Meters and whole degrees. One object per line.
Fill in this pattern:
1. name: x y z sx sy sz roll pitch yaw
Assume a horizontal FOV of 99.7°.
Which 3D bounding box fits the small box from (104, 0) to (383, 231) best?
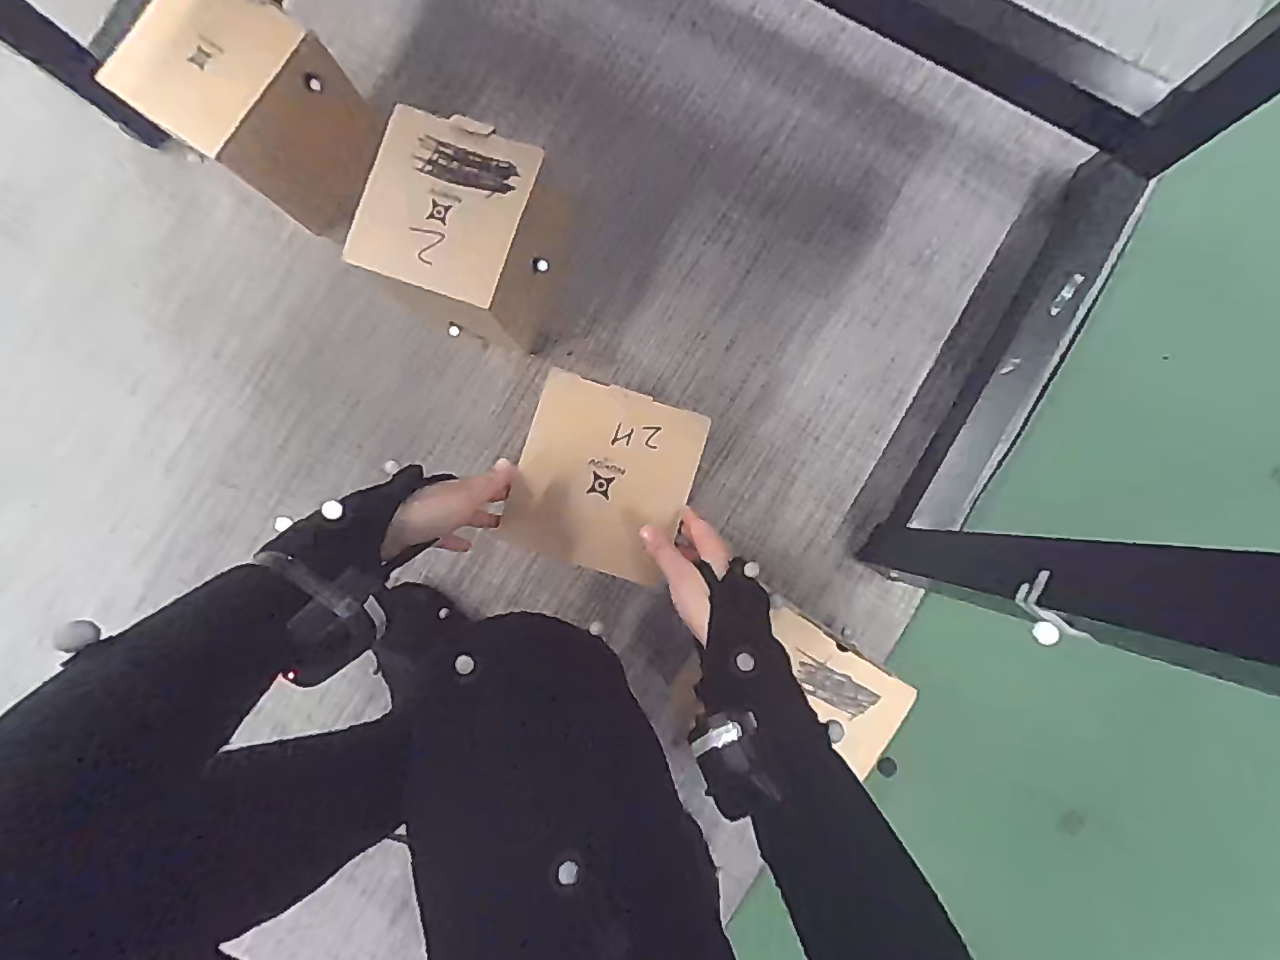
1. small box: -0.450 -0.441 0.647 0.168 0.176 0.179 35 88 4
